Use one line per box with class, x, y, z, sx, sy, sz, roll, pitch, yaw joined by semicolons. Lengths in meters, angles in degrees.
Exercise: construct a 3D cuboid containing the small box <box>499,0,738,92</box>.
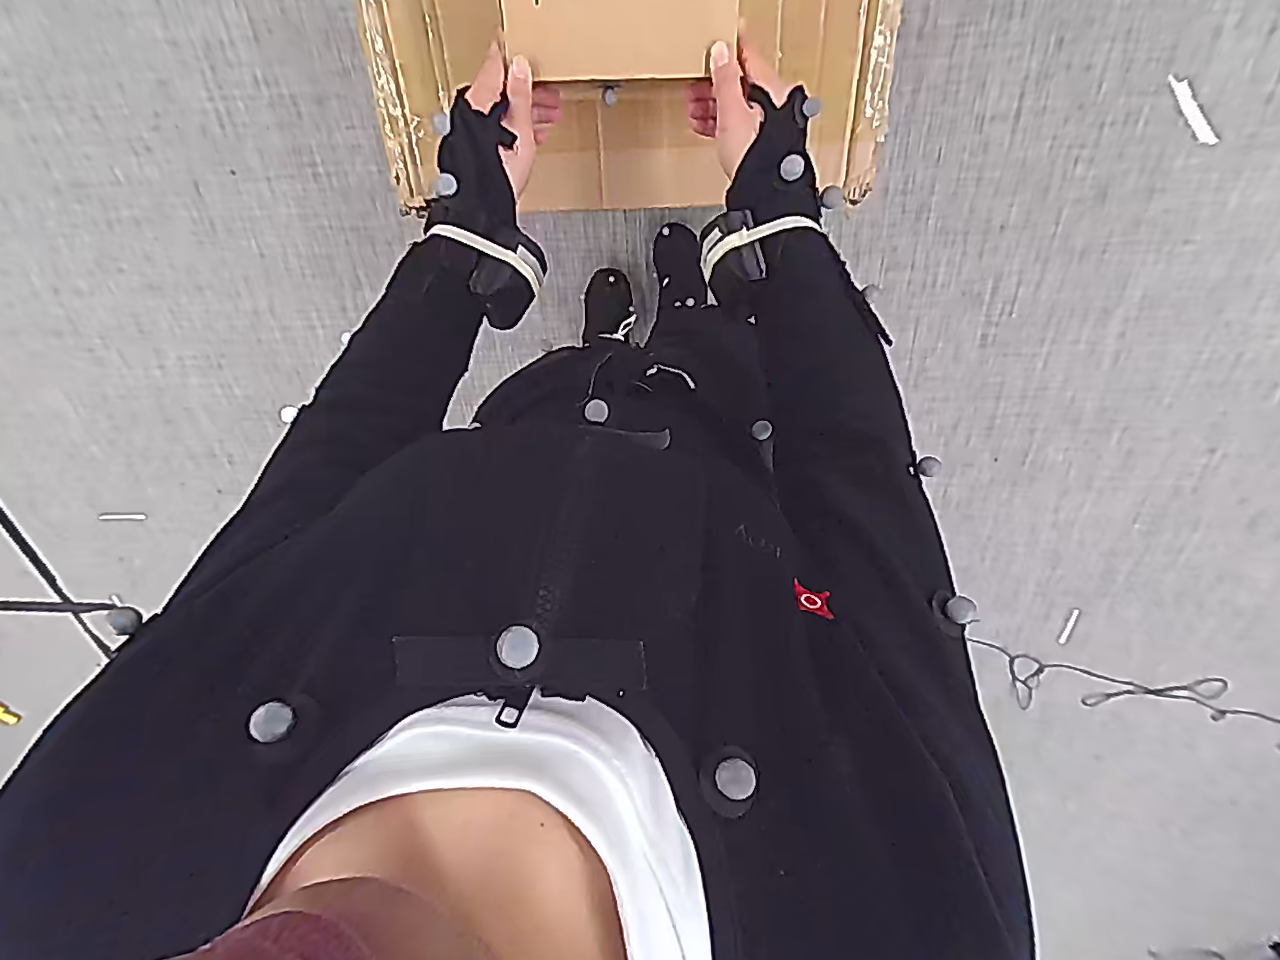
small box;-0.011;-0.420;0.433;0.179;0.176;0.168;1;121;3
